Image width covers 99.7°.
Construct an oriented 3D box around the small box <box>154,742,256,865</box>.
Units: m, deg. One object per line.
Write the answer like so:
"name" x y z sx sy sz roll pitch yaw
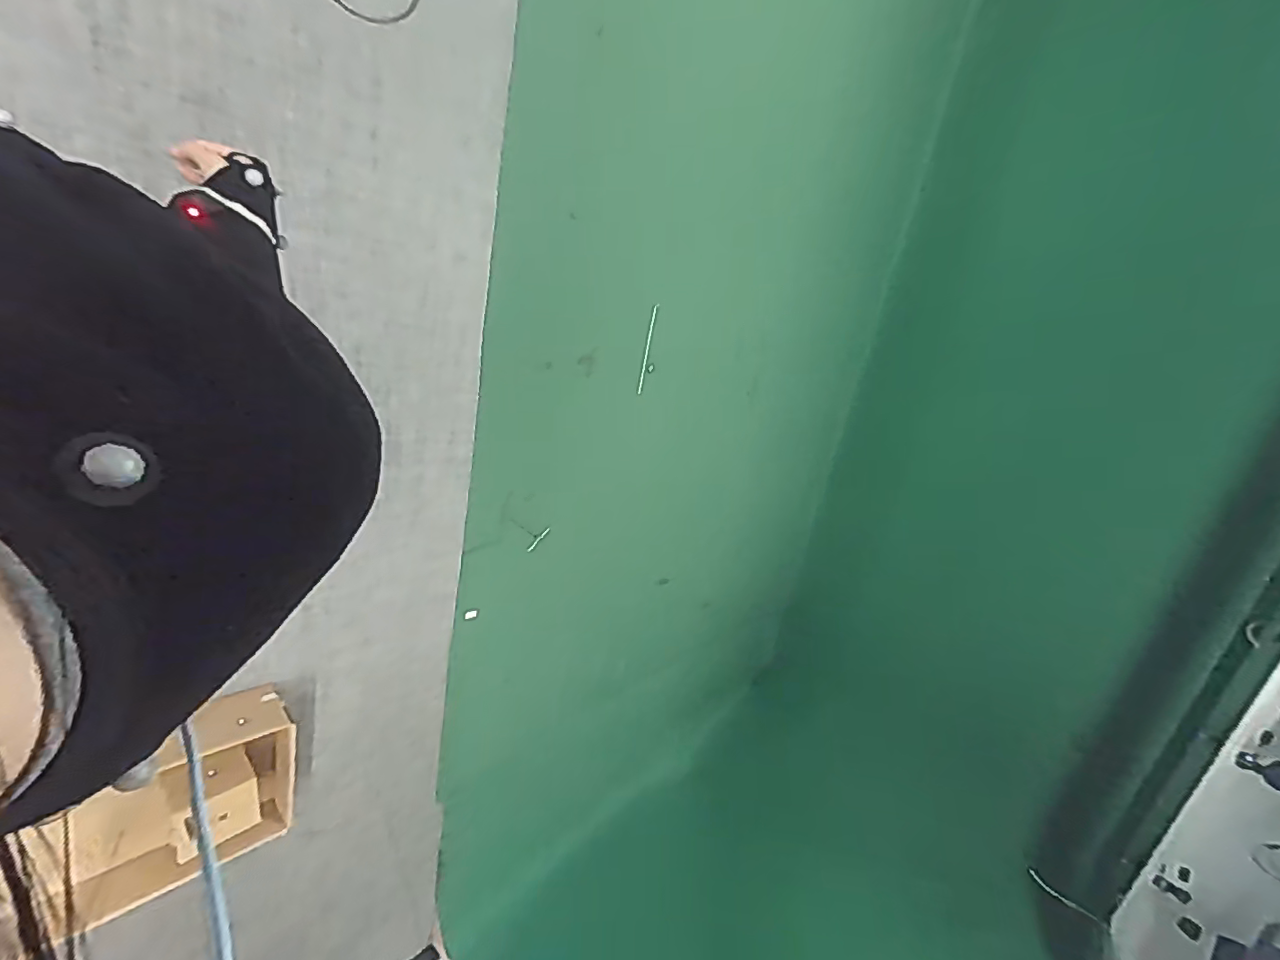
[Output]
"small box" -1.137 0.833 1.411 0.179 0.176 0.168 -14 120 -50
